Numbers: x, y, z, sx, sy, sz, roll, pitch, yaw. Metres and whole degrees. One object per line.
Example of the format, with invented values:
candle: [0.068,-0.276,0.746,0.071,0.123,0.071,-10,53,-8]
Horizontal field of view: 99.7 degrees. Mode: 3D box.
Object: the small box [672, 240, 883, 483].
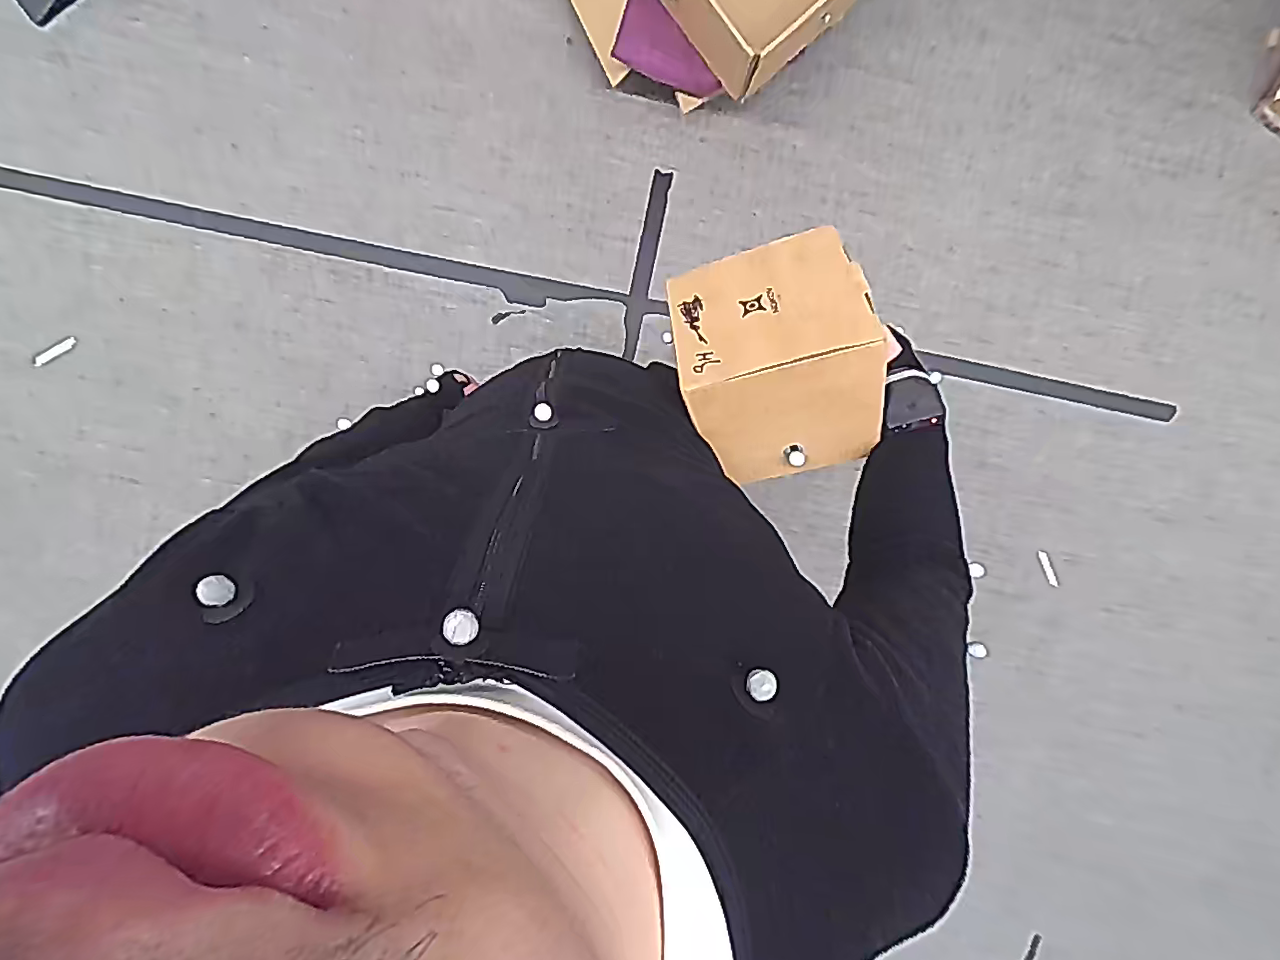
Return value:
small box: [0.143,-0.118,0.586,0.179,0.168,0.176,-13,143,12]
